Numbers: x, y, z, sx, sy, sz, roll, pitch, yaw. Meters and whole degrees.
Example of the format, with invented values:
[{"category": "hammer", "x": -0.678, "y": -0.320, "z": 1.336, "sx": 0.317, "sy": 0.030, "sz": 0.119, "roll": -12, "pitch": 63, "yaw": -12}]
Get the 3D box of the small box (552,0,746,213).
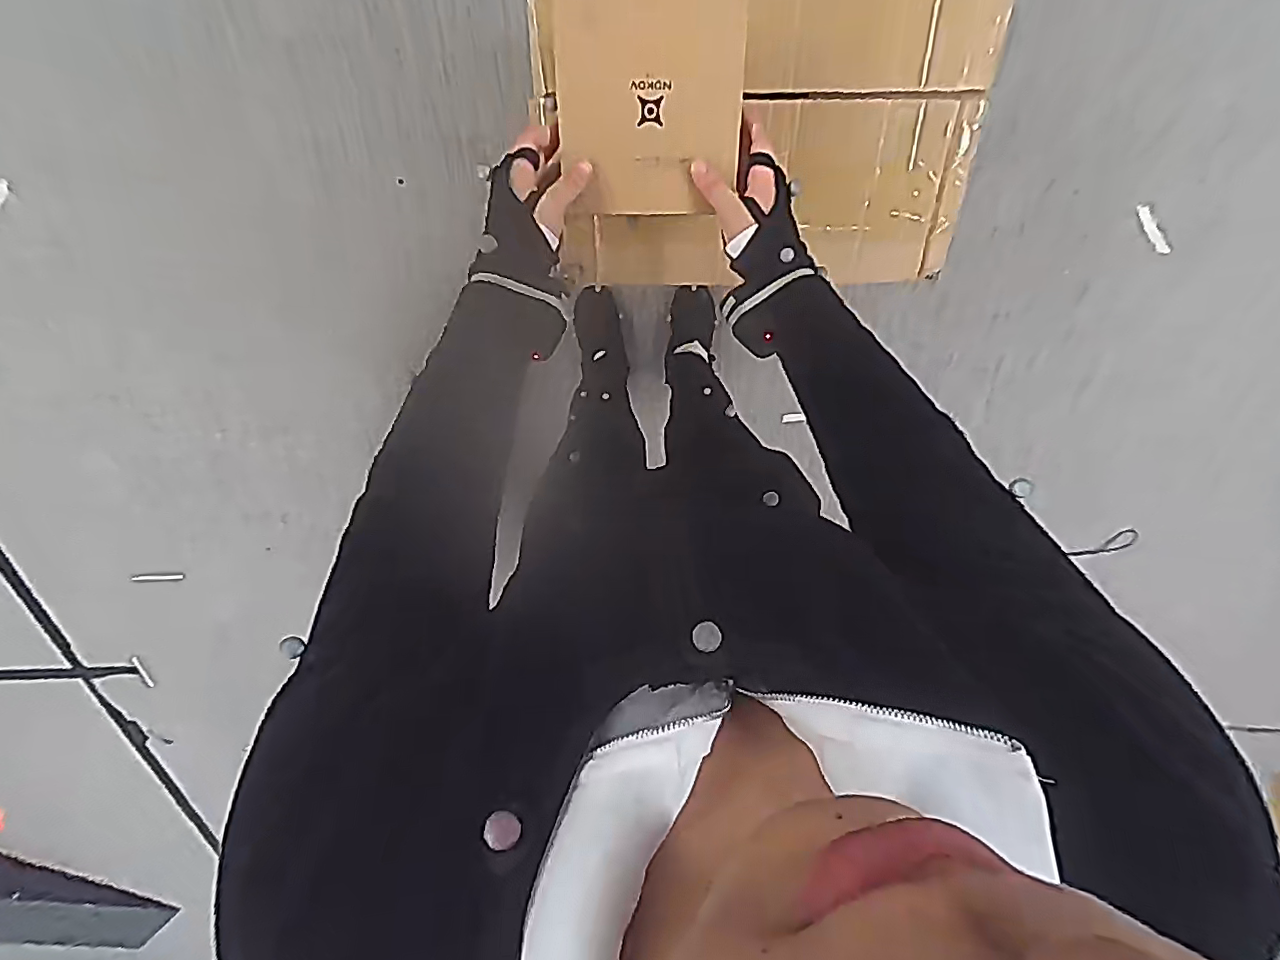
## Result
[{"category": "small box", "x": 0.004, "y": -0.374, "z": 0.551, "sx": 0.168, "sy": 0.176, "sz": 0.179, "roll": -2, "pitch": 120, "yaw": -1}]
